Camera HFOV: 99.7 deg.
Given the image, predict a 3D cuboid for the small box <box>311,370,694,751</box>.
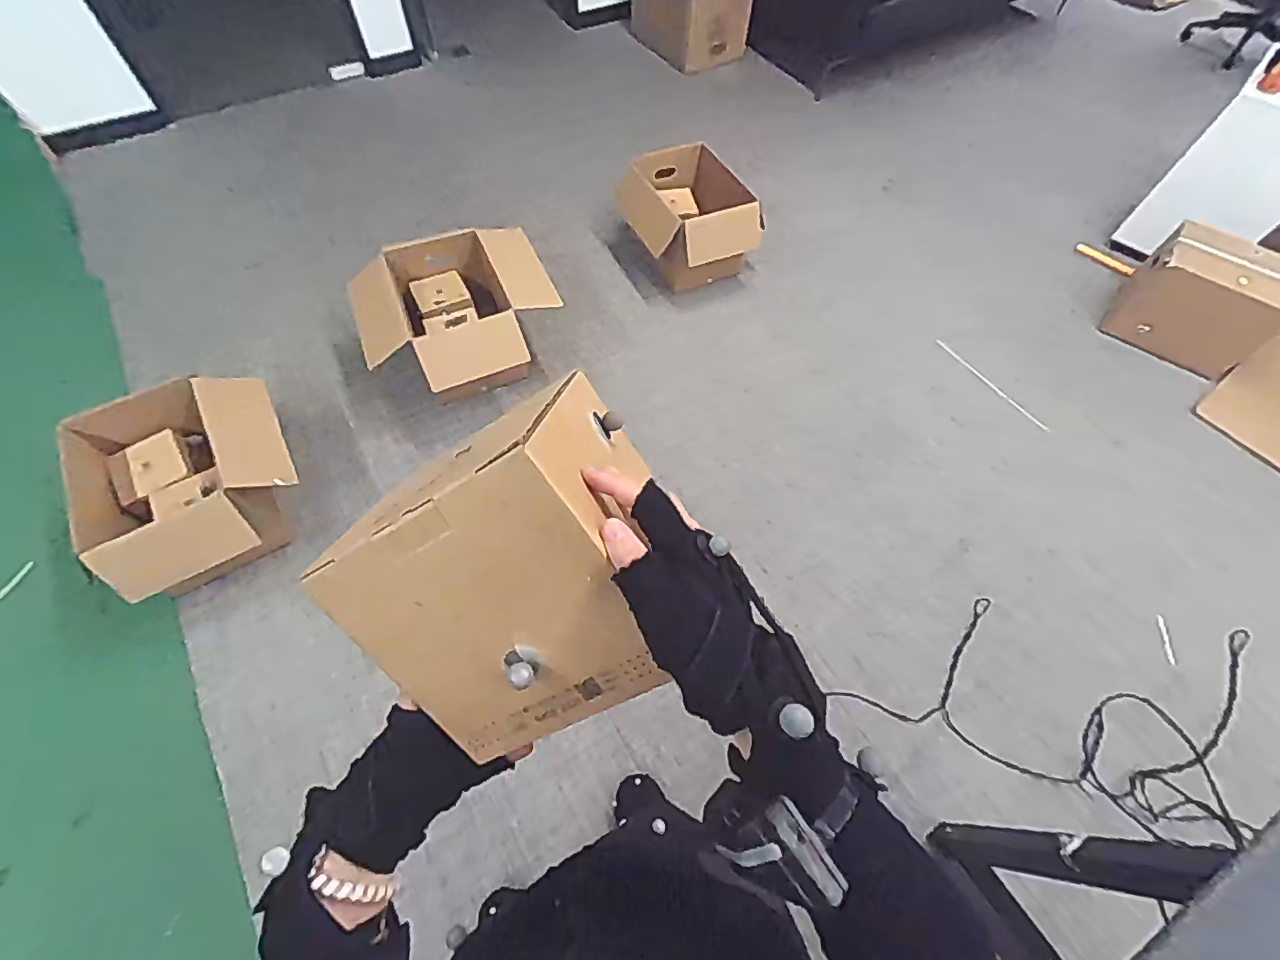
[{"bbox_3d":[-0.072,0.049,0.387,0.168,0.176,0.179,-29,19,15],"label":"small box"}]
